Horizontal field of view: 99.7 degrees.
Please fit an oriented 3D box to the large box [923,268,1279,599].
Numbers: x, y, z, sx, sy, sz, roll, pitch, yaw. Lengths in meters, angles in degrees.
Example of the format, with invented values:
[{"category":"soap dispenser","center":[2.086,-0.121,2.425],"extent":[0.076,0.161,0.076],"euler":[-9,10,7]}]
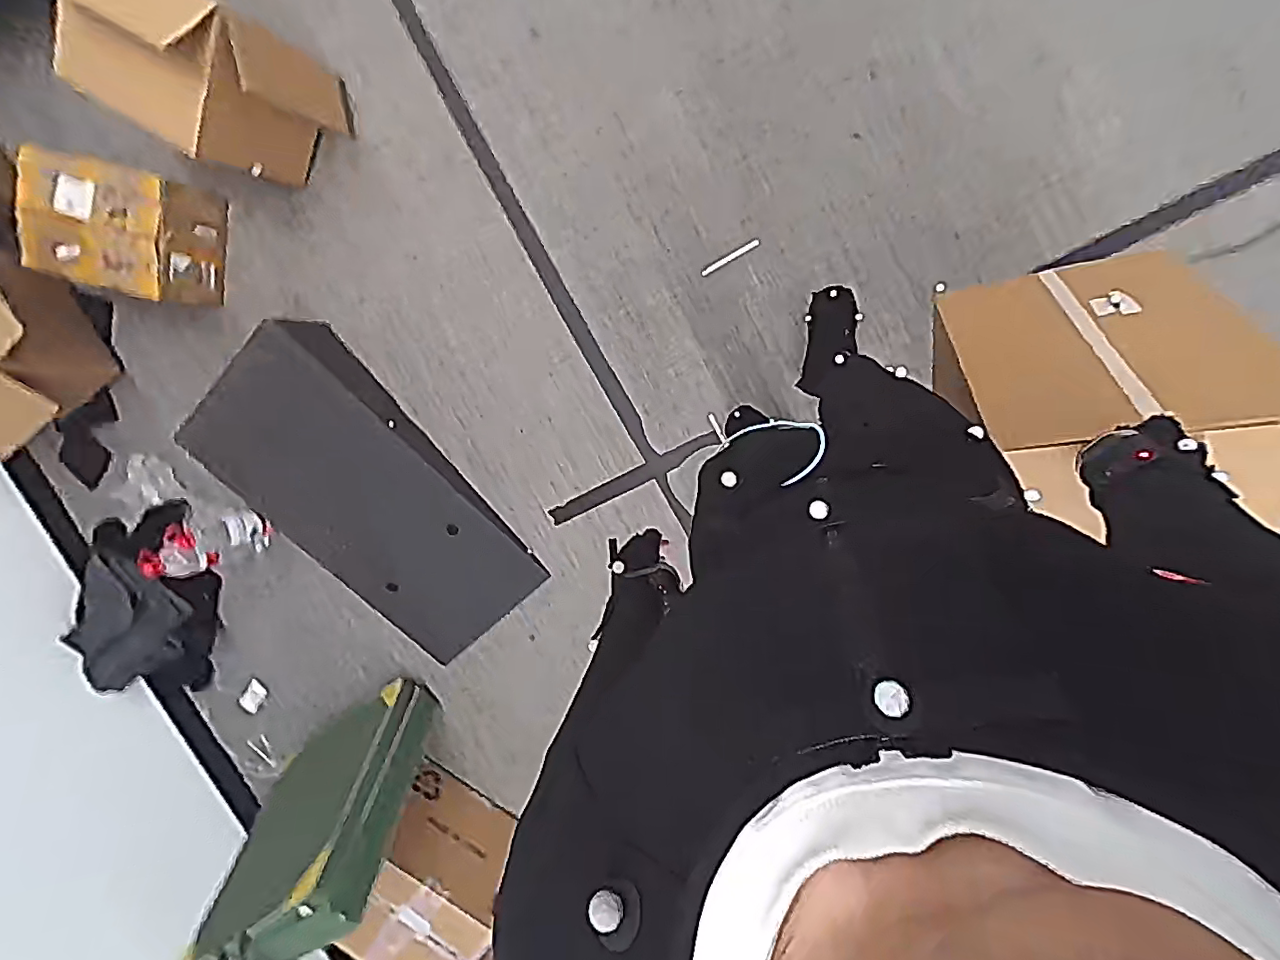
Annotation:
[{"category":"large box","center":[0.651,-0.070,0.839],"extent":[0.320,0.408,0.320],"euler":[-5,132,19]}]
